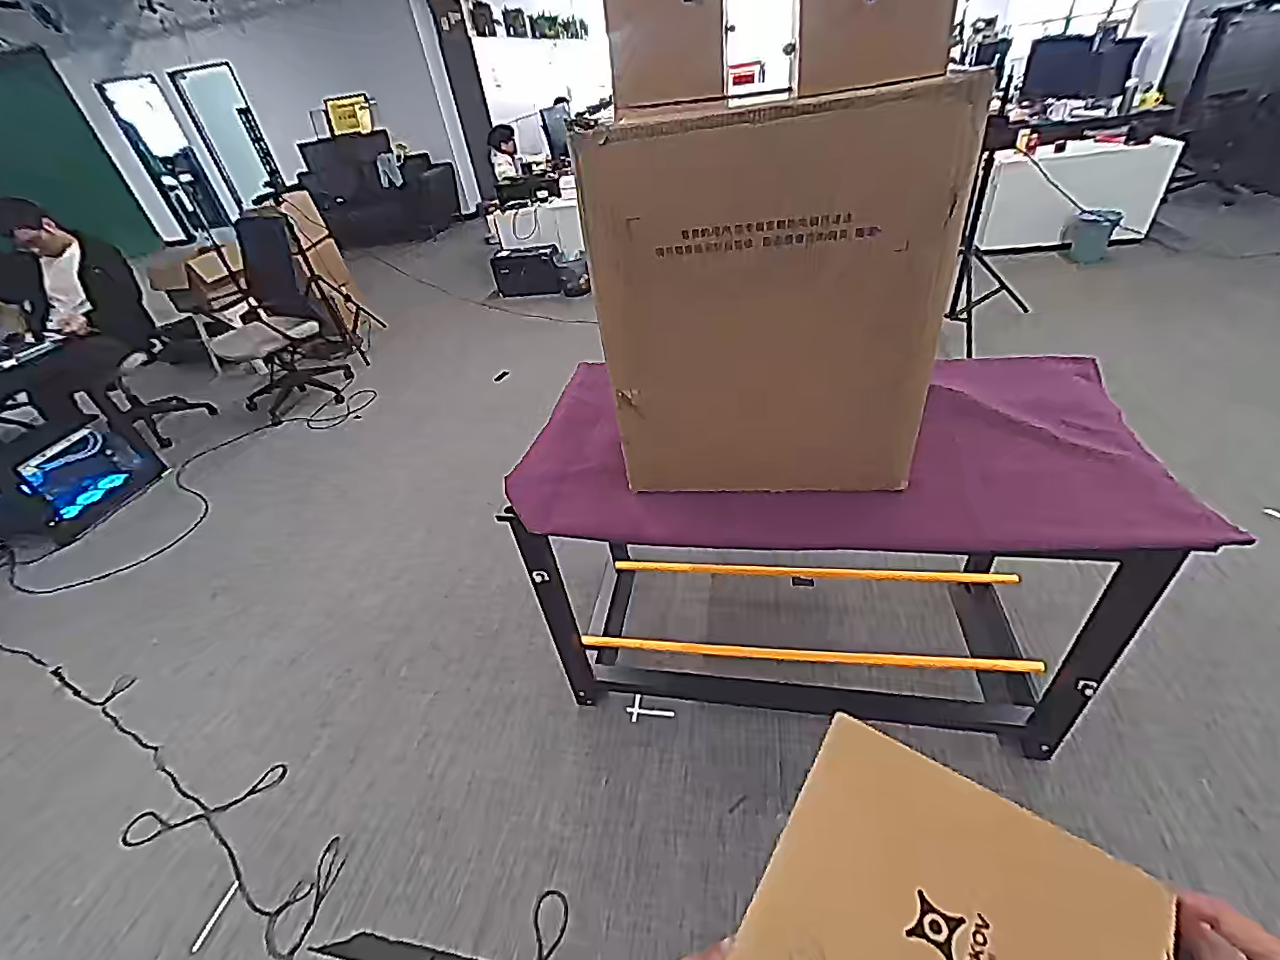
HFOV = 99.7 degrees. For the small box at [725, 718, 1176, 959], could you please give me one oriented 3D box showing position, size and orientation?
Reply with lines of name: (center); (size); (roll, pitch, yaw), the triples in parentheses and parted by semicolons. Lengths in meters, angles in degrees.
small box: (0.167, 0.291, 0.327); (0.179, 0.176, 0.168); (21, 51, 31)
